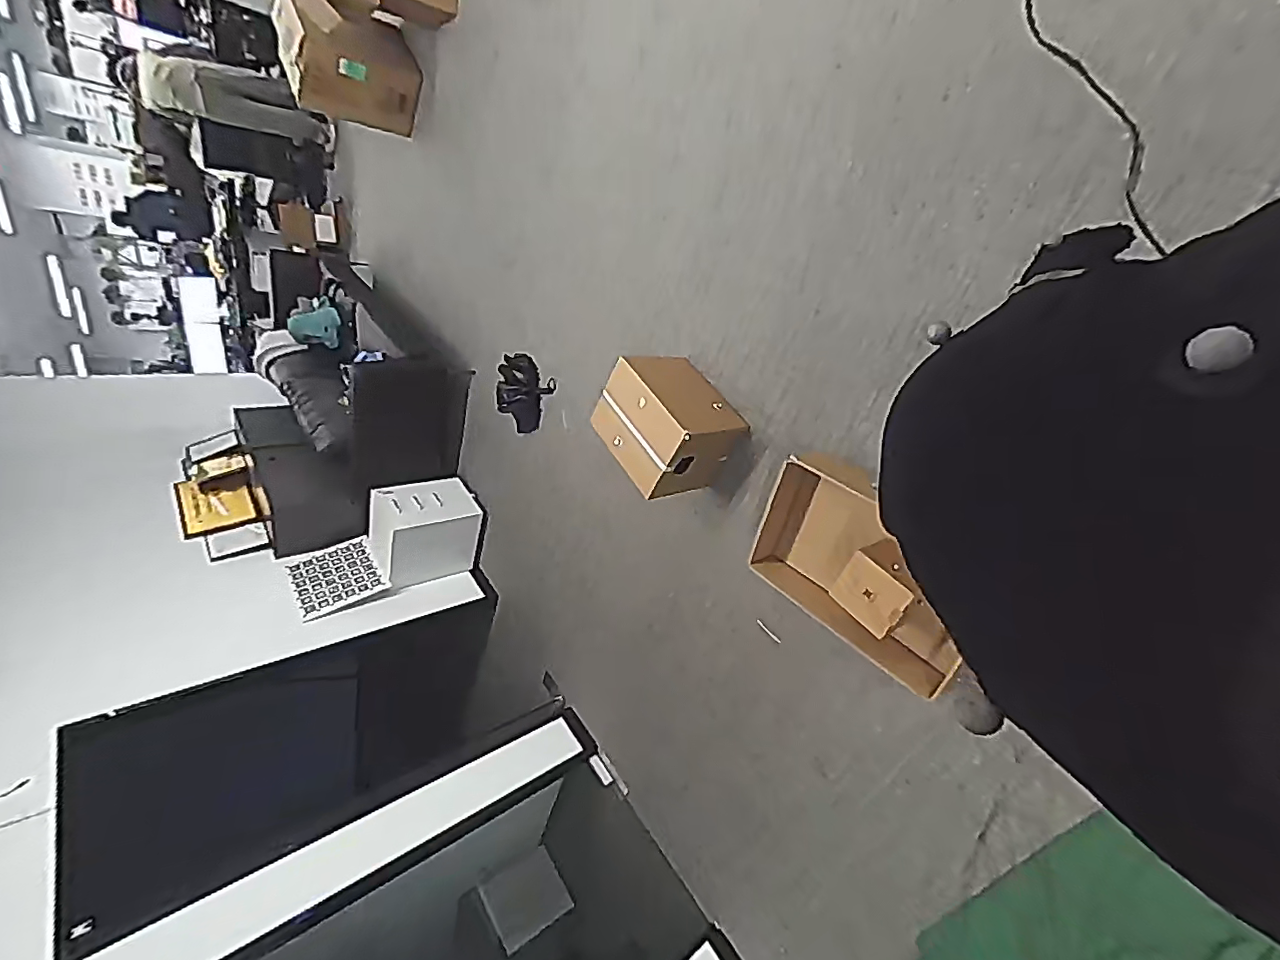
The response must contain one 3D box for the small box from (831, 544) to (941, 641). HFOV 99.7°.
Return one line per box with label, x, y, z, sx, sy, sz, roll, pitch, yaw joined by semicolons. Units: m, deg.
small box;0.655;0.290;1.436;0.179;0.176;0.168;45;129;36
